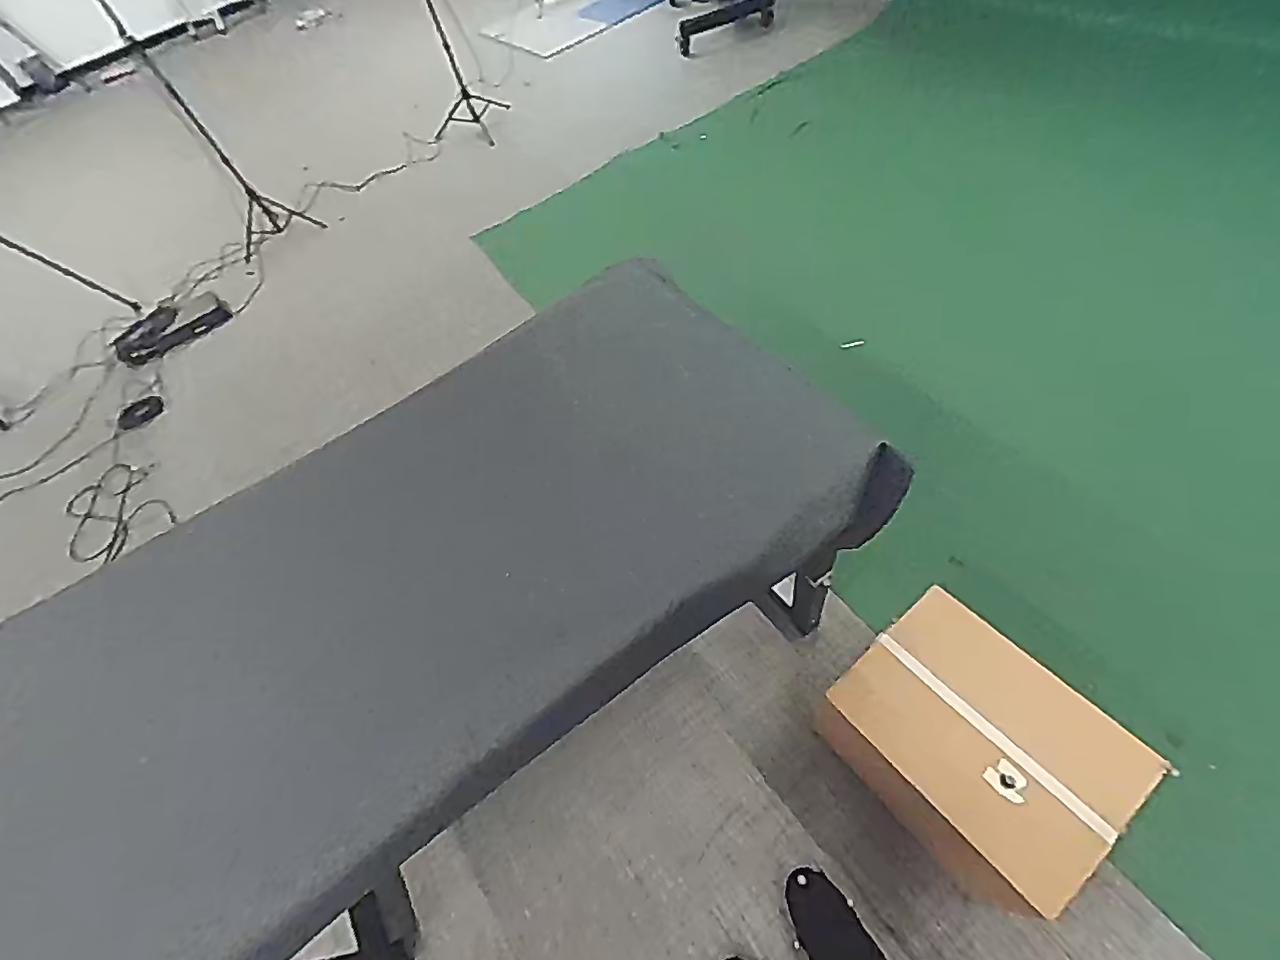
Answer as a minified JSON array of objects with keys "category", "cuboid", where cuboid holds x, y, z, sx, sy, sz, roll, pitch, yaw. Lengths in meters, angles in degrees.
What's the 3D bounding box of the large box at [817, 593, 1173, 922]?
[{"category":"large box","cuboid":[0.599,0.496,1.009,0.320,0.320,0.408,-38,57,-13]}]
